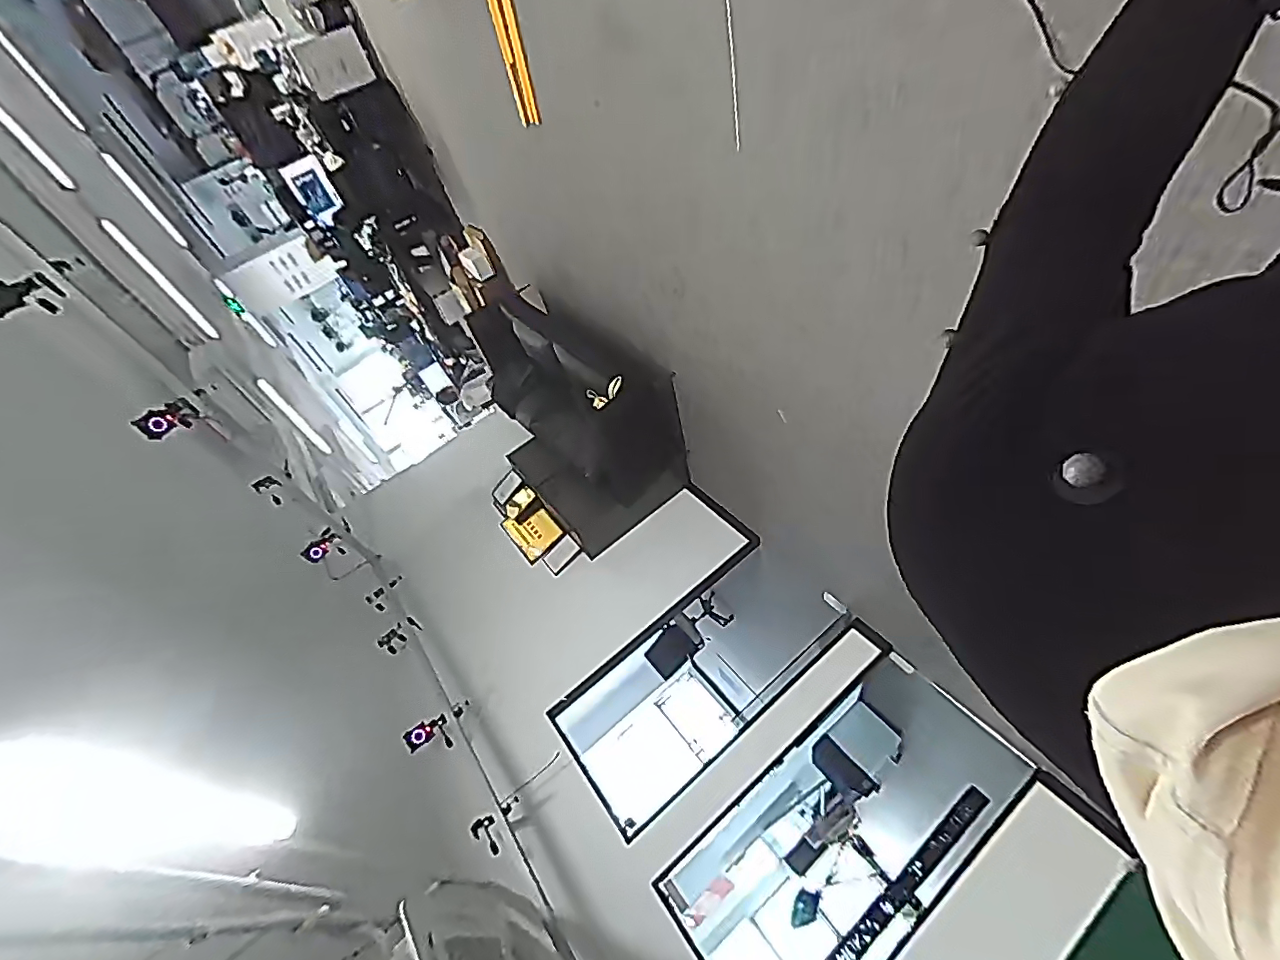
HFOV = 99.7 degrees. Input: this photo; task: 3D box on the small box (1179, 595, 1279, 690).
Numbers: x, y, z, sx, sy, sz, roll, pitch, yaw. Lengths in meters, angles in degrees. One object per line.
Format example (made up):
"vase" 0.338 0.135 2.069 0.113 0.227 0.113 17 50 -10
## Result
"small box" 1.749 0.469 1.567 0.168 0.176 0.179 42 162 36
